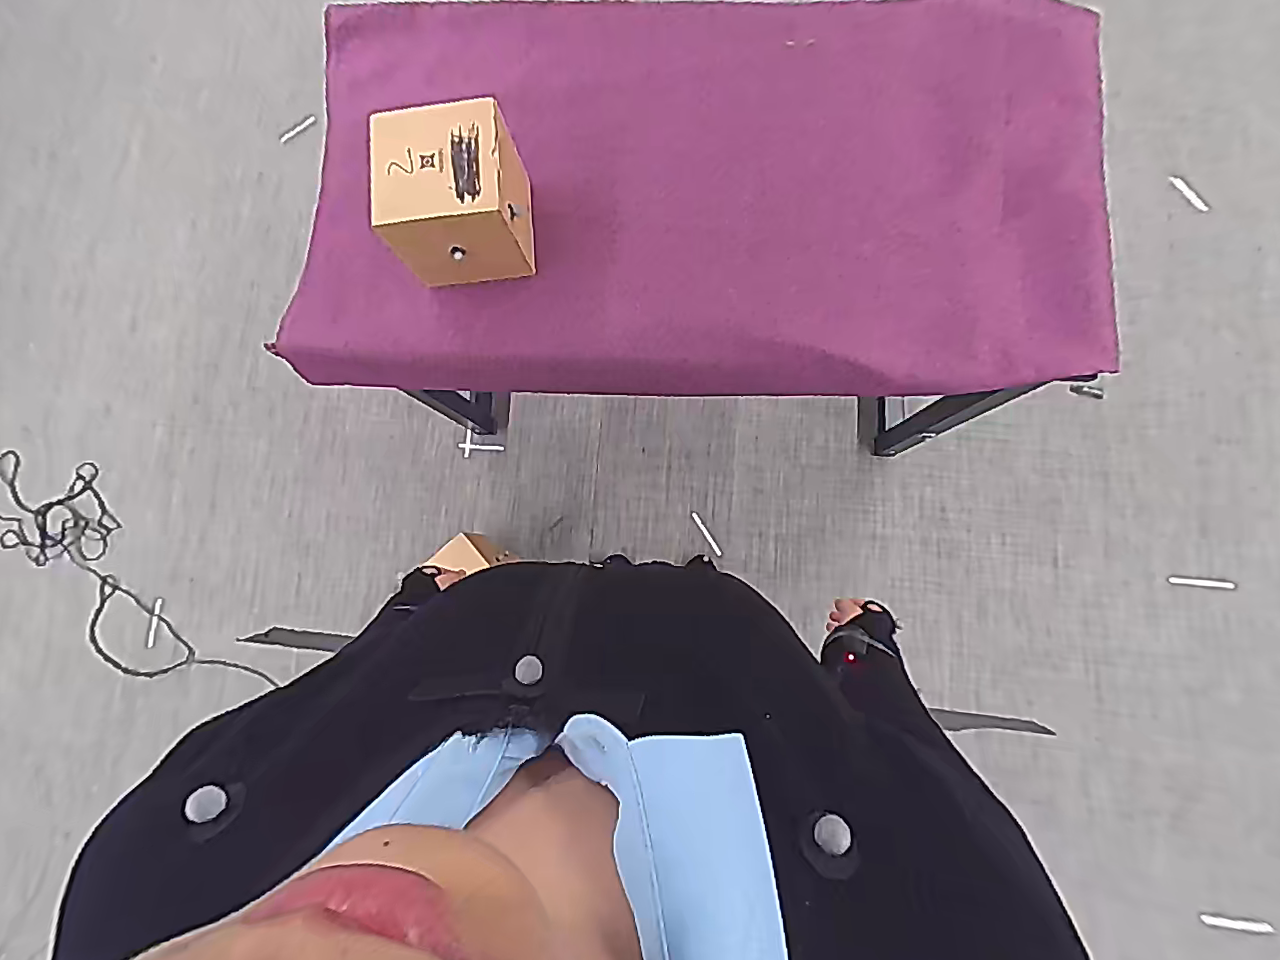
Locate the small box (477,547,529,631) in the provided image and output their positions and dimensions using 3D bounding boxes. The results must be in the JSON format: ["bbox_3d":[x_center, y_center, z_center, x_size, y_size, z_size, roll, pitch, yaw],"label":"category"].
[{"bbox_3d":[-0.419,0.279,1.448,0.168,0.176,0.179,26,84,7],"label":"small box"}]

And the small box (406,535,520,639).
[{"bbox_3d":[-0.406,0.248,1.284,0.179,0.176,0.168,-41,81,-3],"label":"small box"}]
